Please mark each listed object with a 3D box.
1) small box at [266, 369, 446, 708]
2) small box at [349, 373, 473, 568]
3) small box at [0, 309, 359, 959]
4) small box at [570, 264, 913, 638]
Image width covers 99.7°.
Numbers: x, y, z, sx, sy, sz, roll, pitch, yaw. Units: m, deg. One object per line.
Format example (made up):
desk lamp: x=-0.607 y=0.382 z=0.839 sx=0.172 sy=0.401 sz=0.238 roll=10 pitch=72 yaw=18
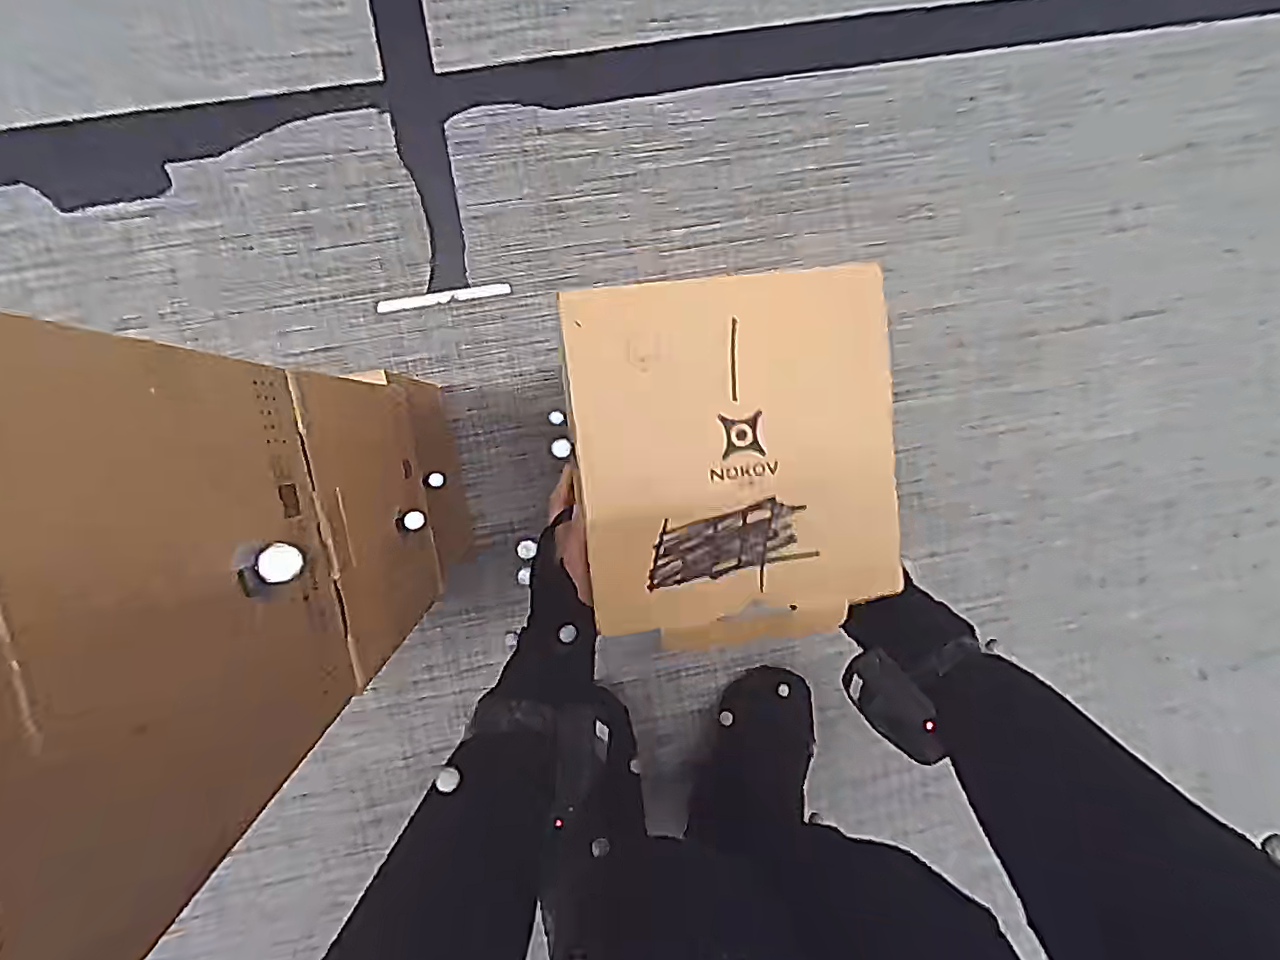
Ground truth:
small box: x=-0.237 y=0.034 z=0.327 sx=0.179 sy=0.176 sz=0.168 roll=-10 pitch=97 yaw=-7
small box: x=-0.259 y=0.010 z=0.486 sx=0.168 sy=0.176 sz=0.179 roll=-11 pitch=96 yaw=-6
small box: x=-0.219 y=0.051 z=0.163 sx=0.179 sy=0.176 sz=0.168 roll=-9 pitch=97 yaw=-7
small box: x=0.047 y=-0.022 z=0.345 sx=0.168 sy=0.176 sz=0.179 roll=-6 pitch=96 yaw=-6
